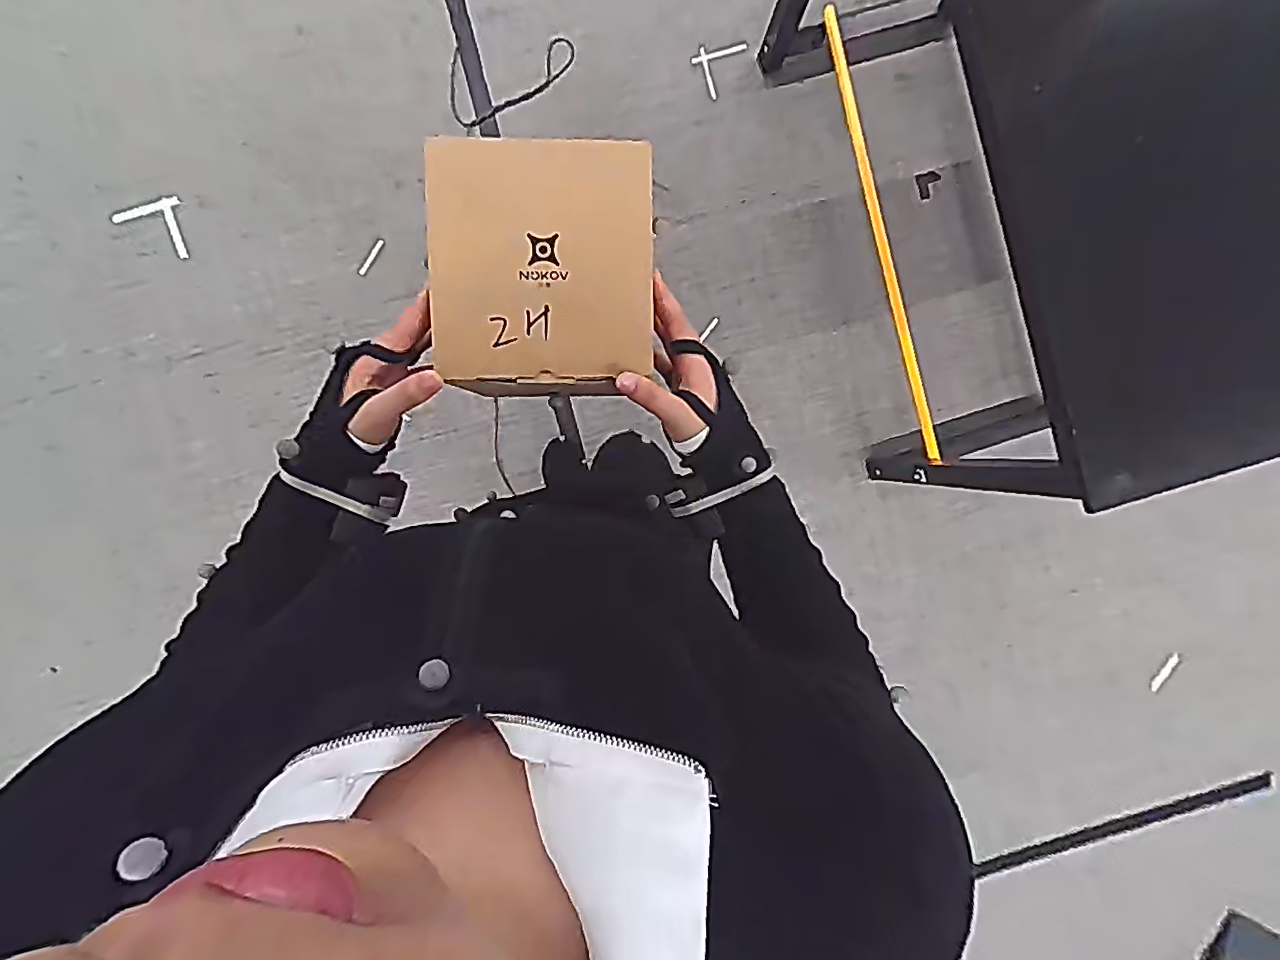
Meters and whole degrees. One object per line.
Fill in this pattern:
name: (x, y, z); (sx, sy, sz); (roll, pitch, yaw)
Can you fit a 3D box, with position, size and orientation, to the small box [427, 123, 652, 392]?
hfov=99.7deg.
small box: (-0.079, -0.175, 0.478); (0.168, 0.176, 0.179); (-1, 95, -3)
